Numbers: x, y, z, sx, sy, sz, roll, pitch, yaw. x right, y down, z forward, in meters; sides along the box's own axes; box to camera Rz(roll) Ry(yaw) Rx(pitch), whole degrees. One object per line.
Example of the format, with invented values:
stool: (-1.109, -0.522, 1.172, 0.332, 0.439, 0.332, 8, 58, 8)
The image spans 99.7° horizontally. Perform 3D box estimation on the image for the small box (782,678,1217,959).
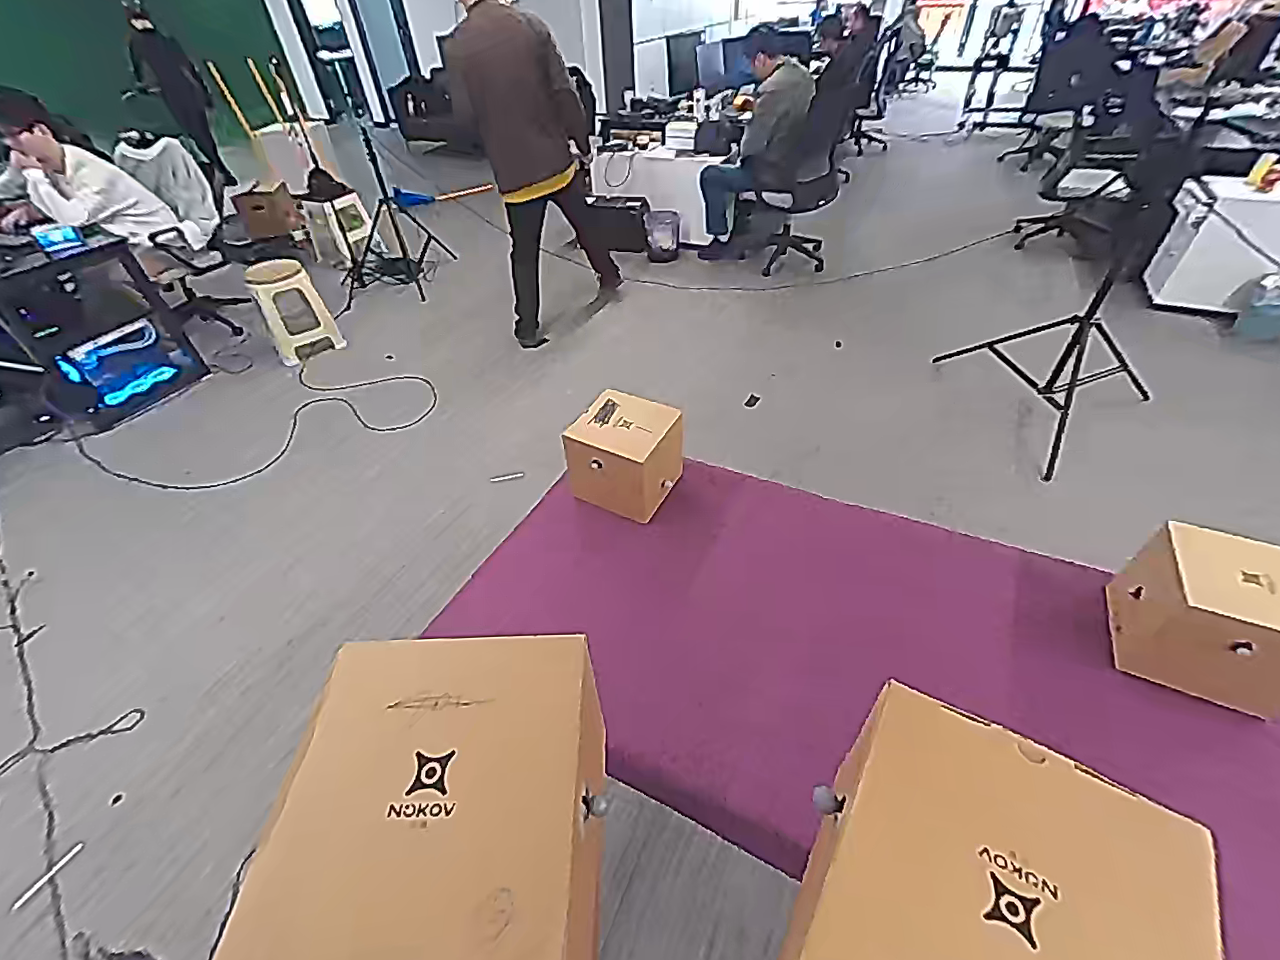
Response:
small box: (0.196, 0.268, 0.331, 0.168, 0.176, 0.179, 21, 48, 25)

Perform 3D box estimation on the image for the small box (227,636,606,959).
small box: (-0.110, 0.226, 0.360, 0.168, 0.176, 0.179, -2, 44, 0)

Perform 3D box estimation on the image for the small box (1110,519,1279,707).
small box: (0.808, 0.189, 0.765, 0.179, 0.176, 0.168, 18, 48, 21)

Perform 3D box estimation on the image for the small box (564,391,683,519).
small box: (-0.027, -0.048, 1.078, 0.179, 0.176, 0.168, 20, 49, 21)
